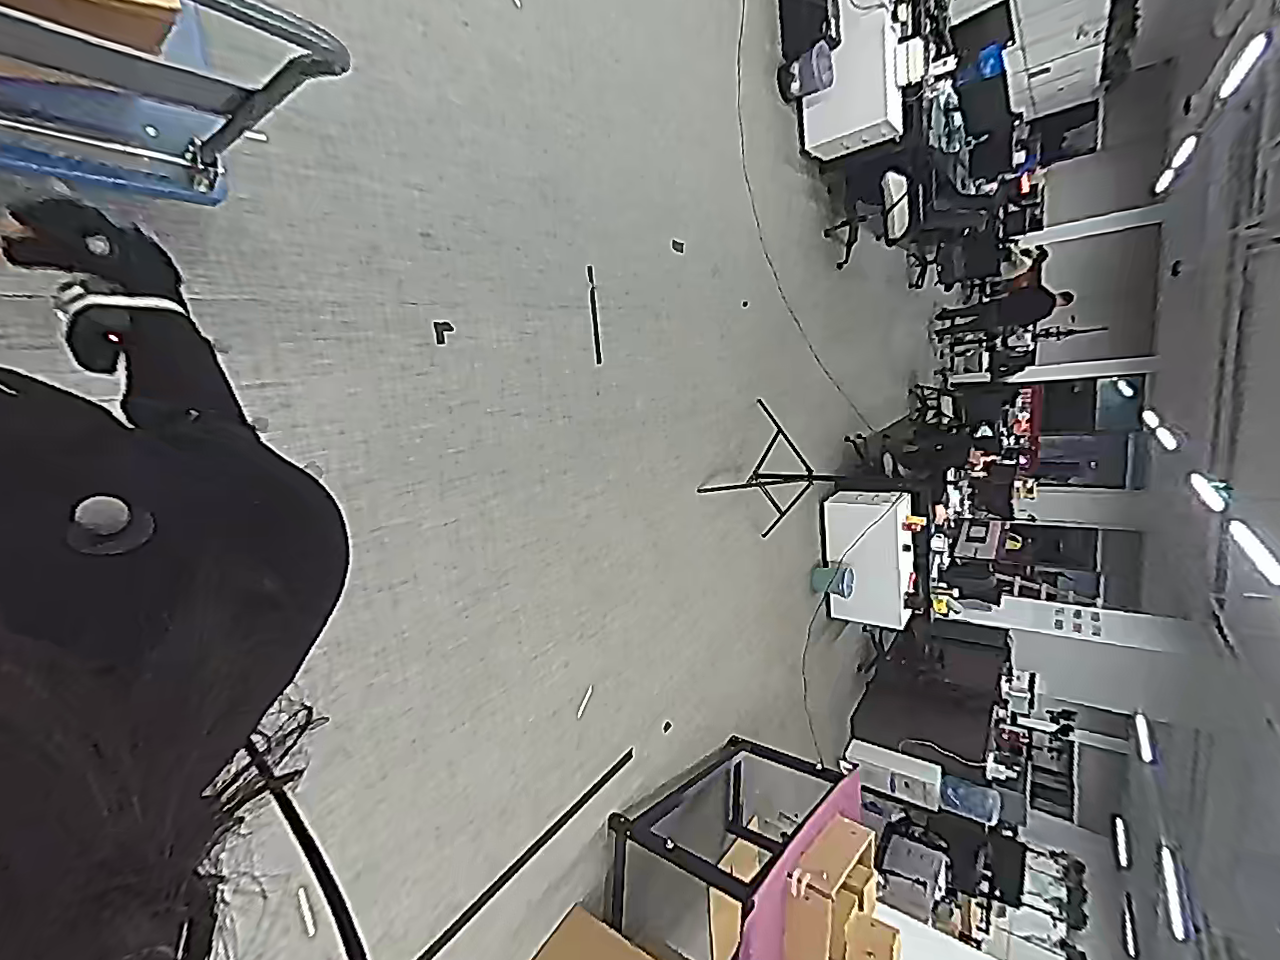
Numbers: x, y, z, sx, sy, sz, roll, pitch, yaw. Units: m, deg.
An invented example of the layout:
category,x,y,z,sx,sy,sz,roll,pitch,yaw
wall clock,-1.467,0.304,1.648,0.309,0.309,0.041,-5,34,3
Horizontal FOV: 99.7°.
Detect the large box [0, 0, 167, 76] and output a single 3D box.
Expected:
category,x,y,z,sx,sy,sz,roll,pitch,yaw
large box,-0.981,-0.805,0.725,0.408,0.320,0.320,-35,120,-47
